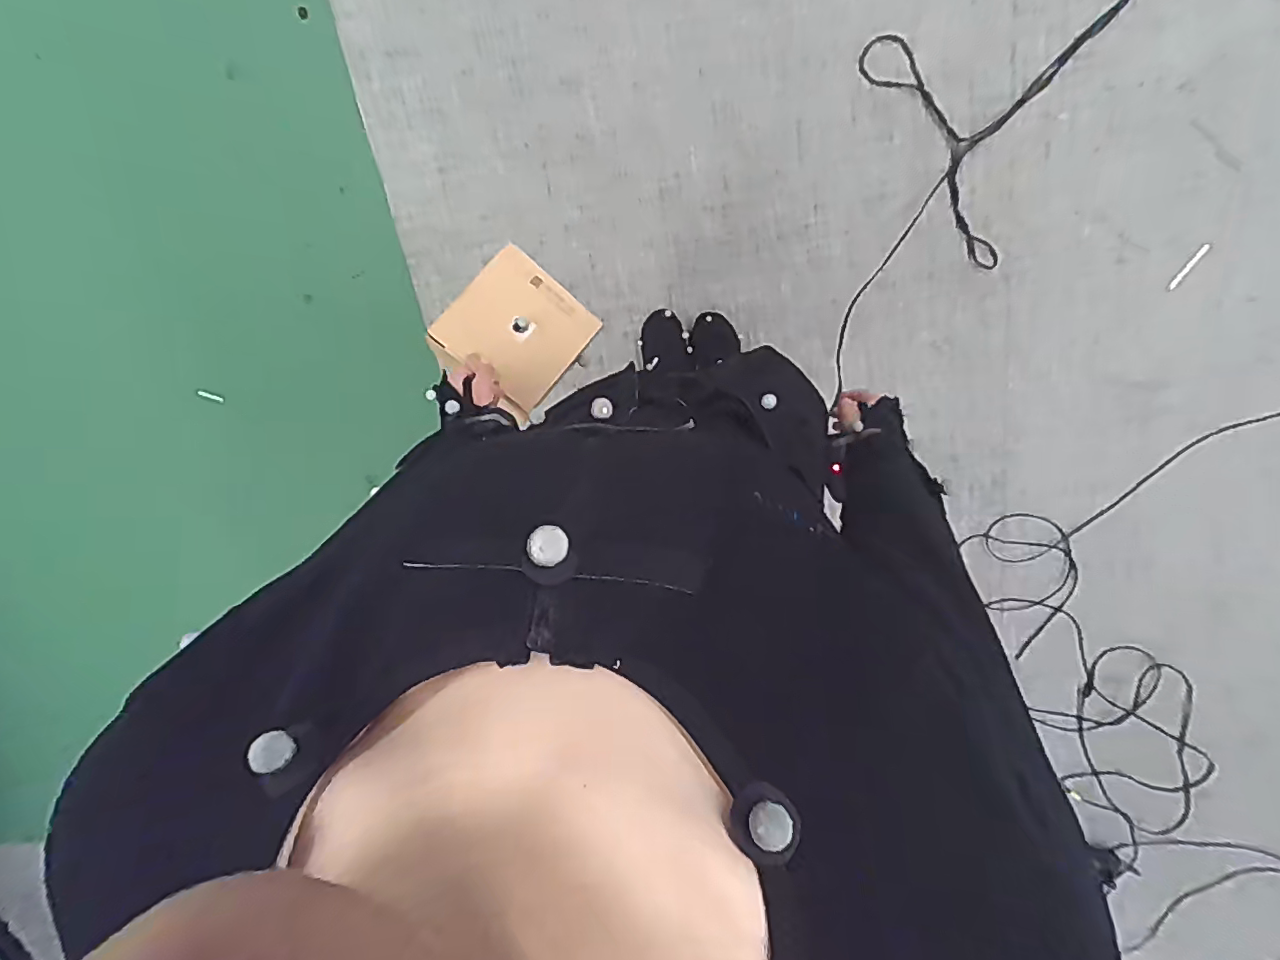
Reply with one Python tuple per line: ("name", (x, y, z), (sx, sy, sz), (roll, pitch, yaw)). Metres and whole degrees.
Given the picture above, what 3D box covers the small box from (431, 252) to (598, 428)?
("small box", (-0.182, -0.199, 0.801), (0.168, 0.179, 0.176), (38, 81, -12))
